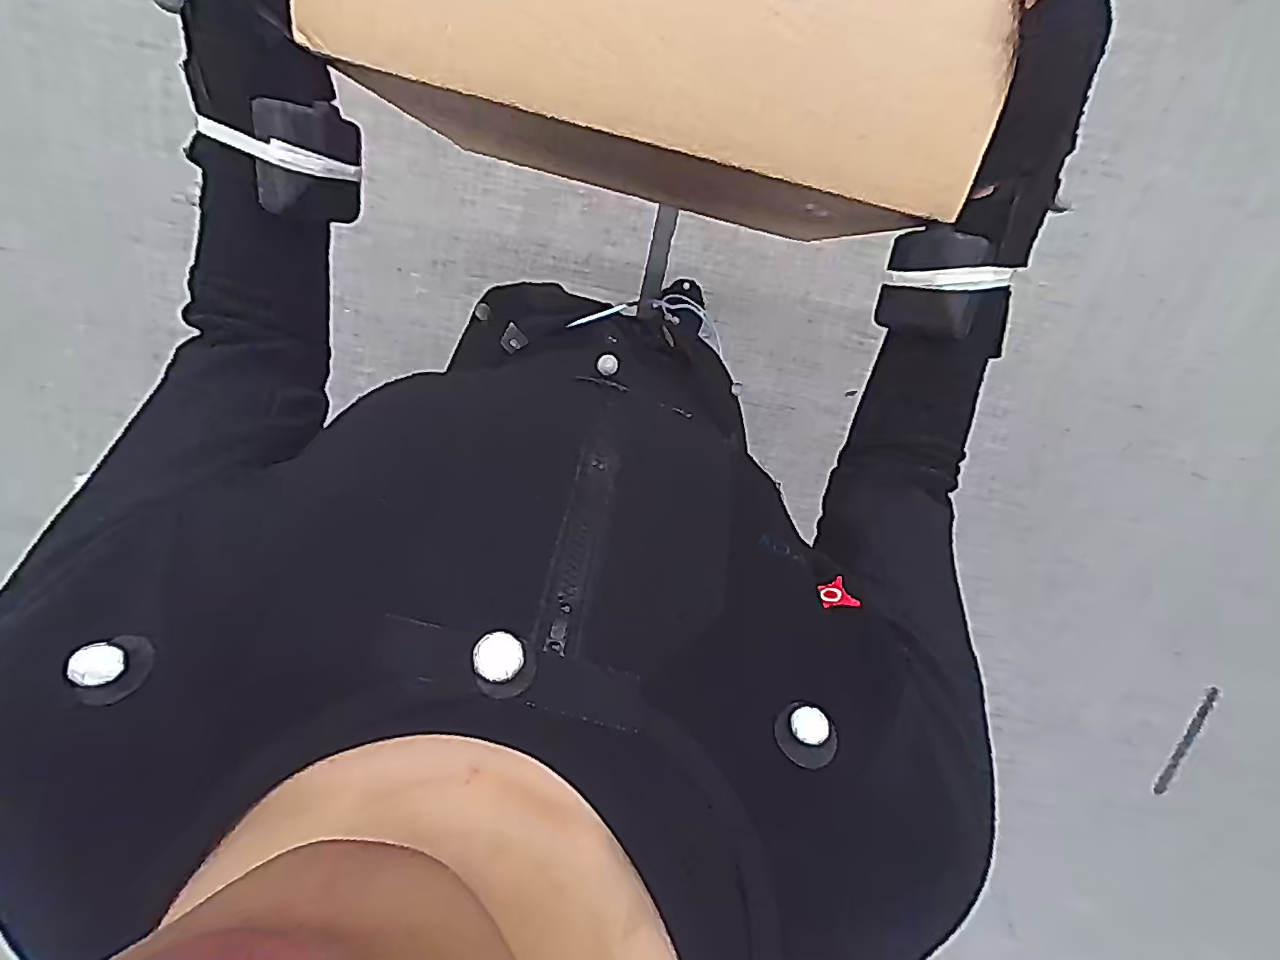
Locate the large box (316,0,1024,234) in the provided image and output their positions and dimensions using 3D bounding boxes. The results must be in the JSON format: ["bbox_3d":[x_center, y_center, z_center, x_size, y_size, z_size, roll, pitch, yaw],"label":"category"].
[{"bbox_3d":[0.033,-0.403,0.417,0.408,0.320,0.320,12,113,-5],"label":"large box"}]
